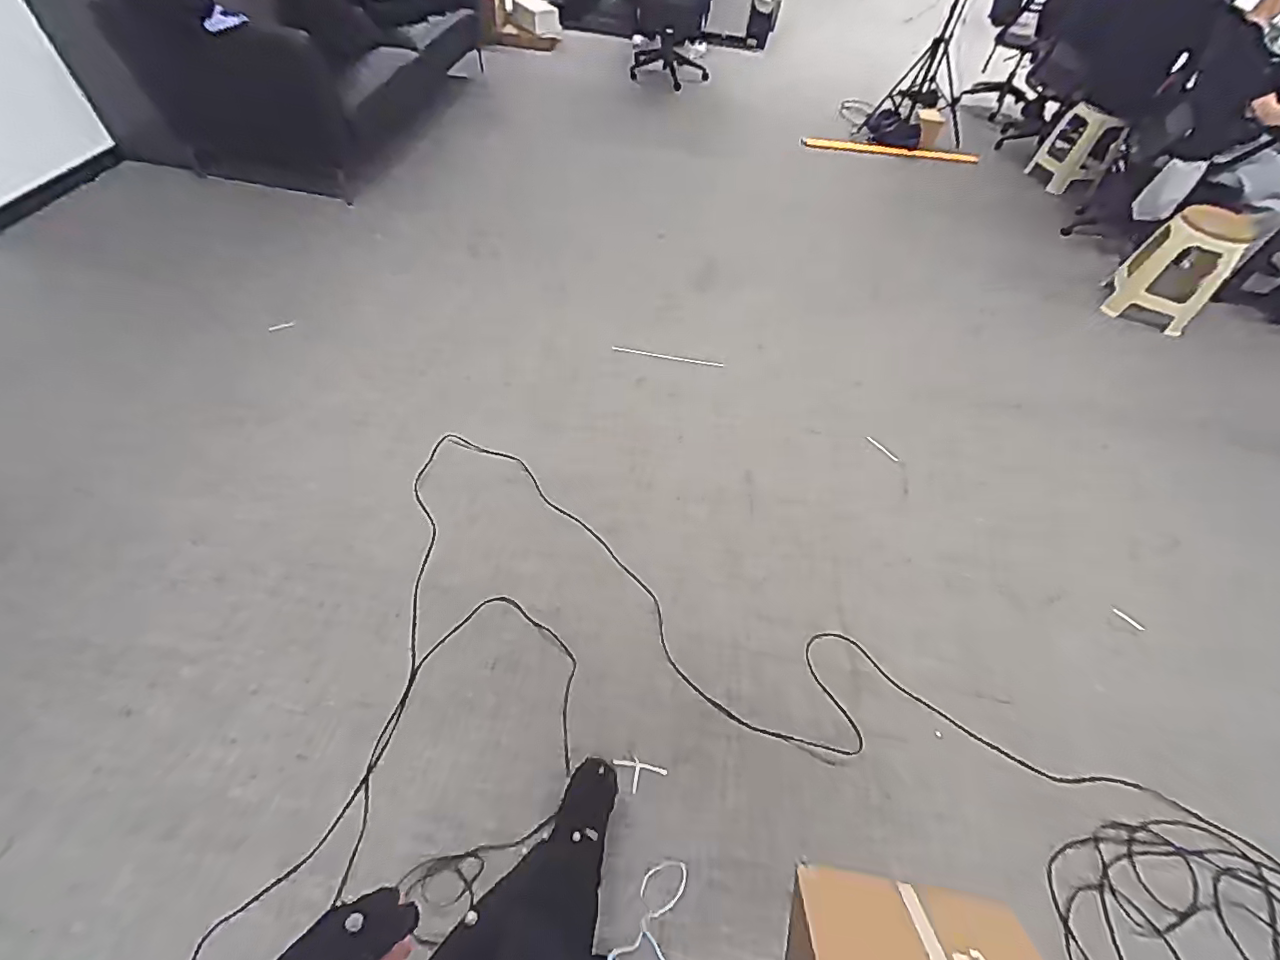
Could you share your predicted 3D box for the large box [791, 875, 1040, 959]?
[{"bbox_3d":[0.355,0.779,0.623,0.320,0.408,0.320,8,92,8],"label":"large box"}]
